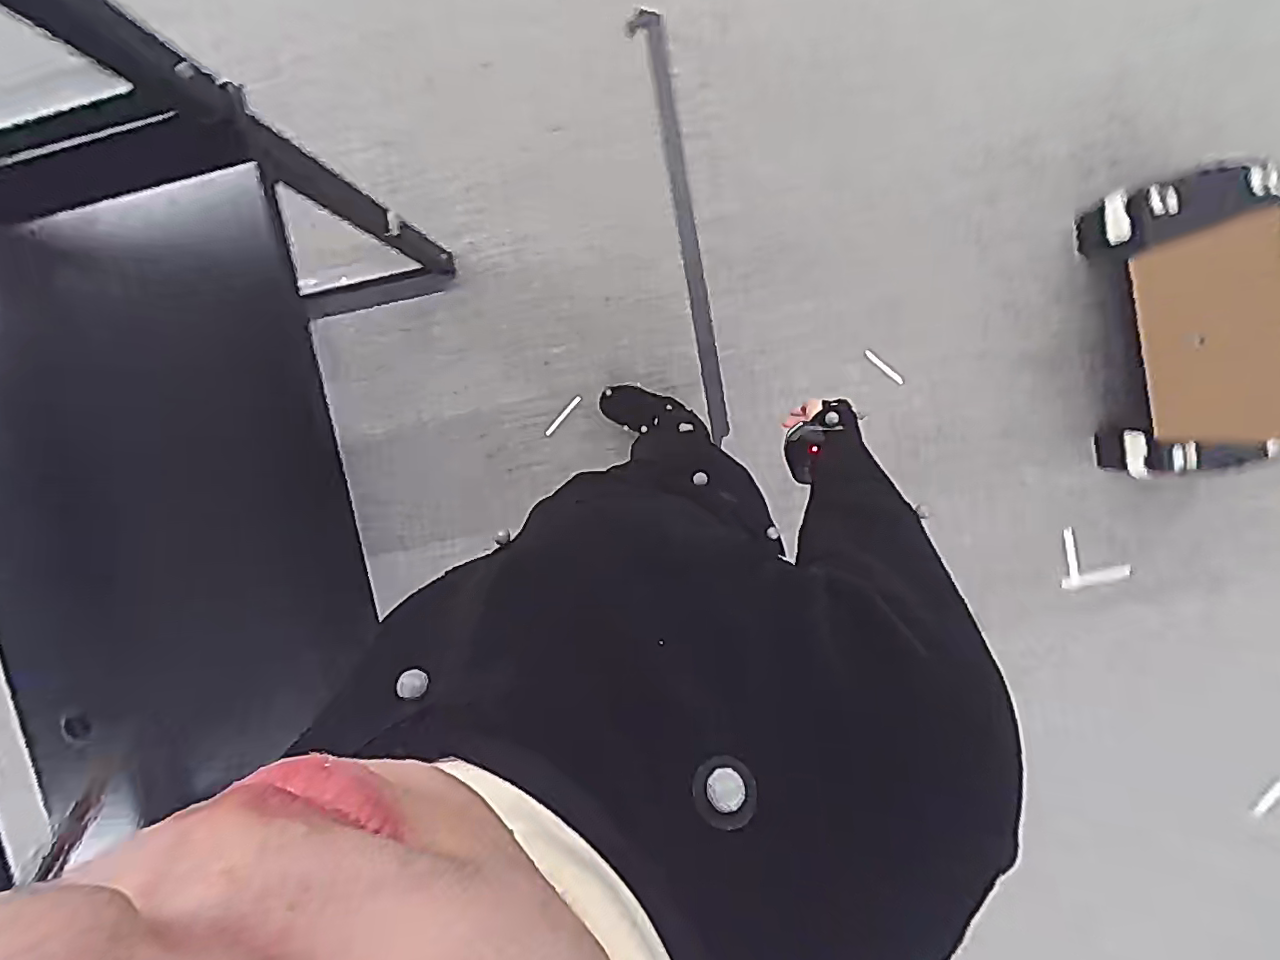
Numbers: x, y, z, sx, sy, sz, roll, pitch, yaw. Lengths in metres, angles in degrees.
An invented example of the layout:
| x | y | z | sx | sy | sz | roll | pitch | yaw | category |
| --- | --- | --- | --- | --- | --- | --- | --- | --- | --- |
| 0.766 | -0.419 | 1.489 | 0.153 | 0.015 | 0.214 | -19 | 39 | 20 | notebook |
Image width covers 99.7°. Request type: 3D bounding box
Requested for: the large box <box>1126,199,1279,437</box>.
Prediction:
| x | y | z | sx | sy | sz | roll | pitch | yaw | category |
| --- | --- | --- | --- | --- | --- | --- | --- | --- | --- |
| 1.236 | -0.313 | 1.029 | 0.320 | 0.320 | 0.408 | -14 | 94 | 4 | large box |
